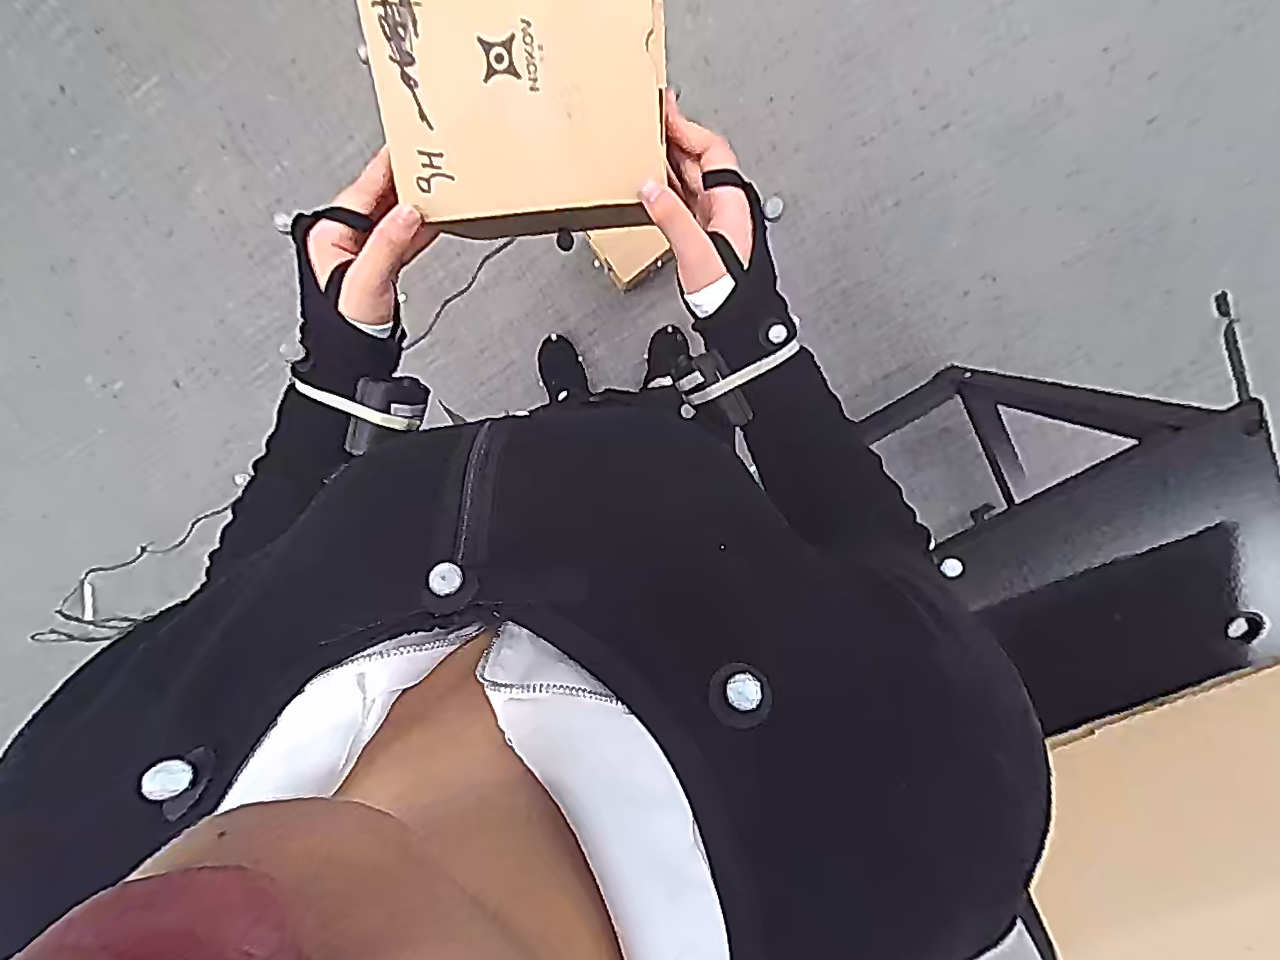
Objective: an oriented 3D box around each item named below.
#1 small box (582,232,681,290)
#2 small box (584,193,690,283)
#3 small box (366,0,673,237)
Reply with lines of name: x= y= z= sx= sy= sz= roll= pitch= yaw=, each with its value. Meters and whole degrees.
small box: x=-0.024 y=-0.568 z=1.269 sx=0.179 sy=0.176 sz=0.168 roll=-34 pitch=104 yaw=10
small box: x=-0.018 y=-0.525 z=1.112 sx=0.179 sy=0.176 sz=0.168 roll=-37 pitch=104 yaw=9
small box: x=-0.073 y=-0.282 z=0.402 sx=0.179 sy=0.176 sz=0.168 roll=-5 pitch=109 yaw=1
